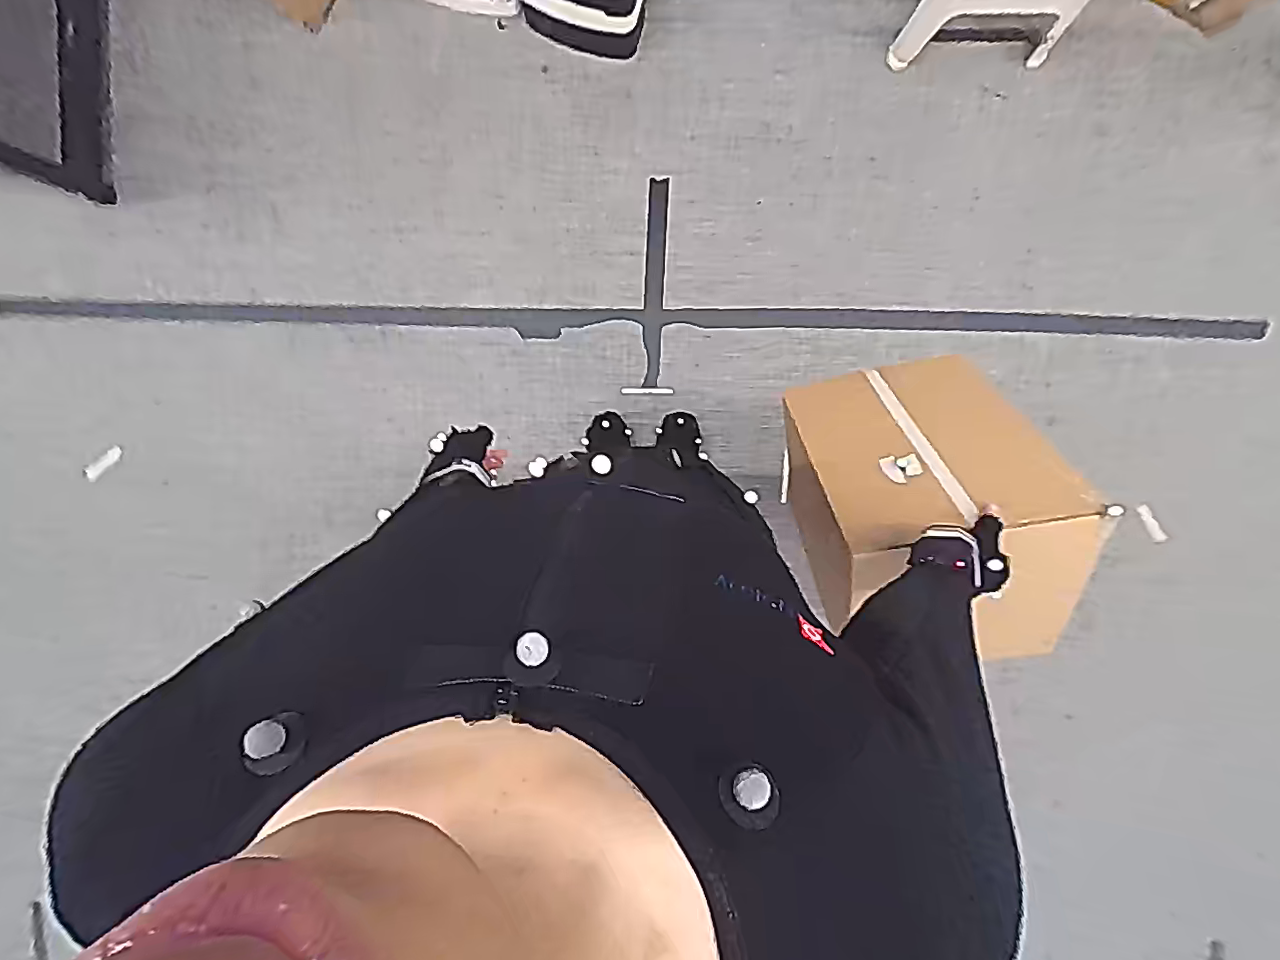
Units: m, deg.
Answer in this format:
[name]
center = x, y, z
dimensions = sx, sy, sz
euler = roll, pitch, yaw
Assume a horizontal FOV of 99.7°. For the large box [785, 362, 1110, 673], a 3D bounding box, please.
[large box]
center = 0.455, 0.056, 0.926
dimensions = 0.320, 0.408, 0.320
euler = -12, 131, 8
